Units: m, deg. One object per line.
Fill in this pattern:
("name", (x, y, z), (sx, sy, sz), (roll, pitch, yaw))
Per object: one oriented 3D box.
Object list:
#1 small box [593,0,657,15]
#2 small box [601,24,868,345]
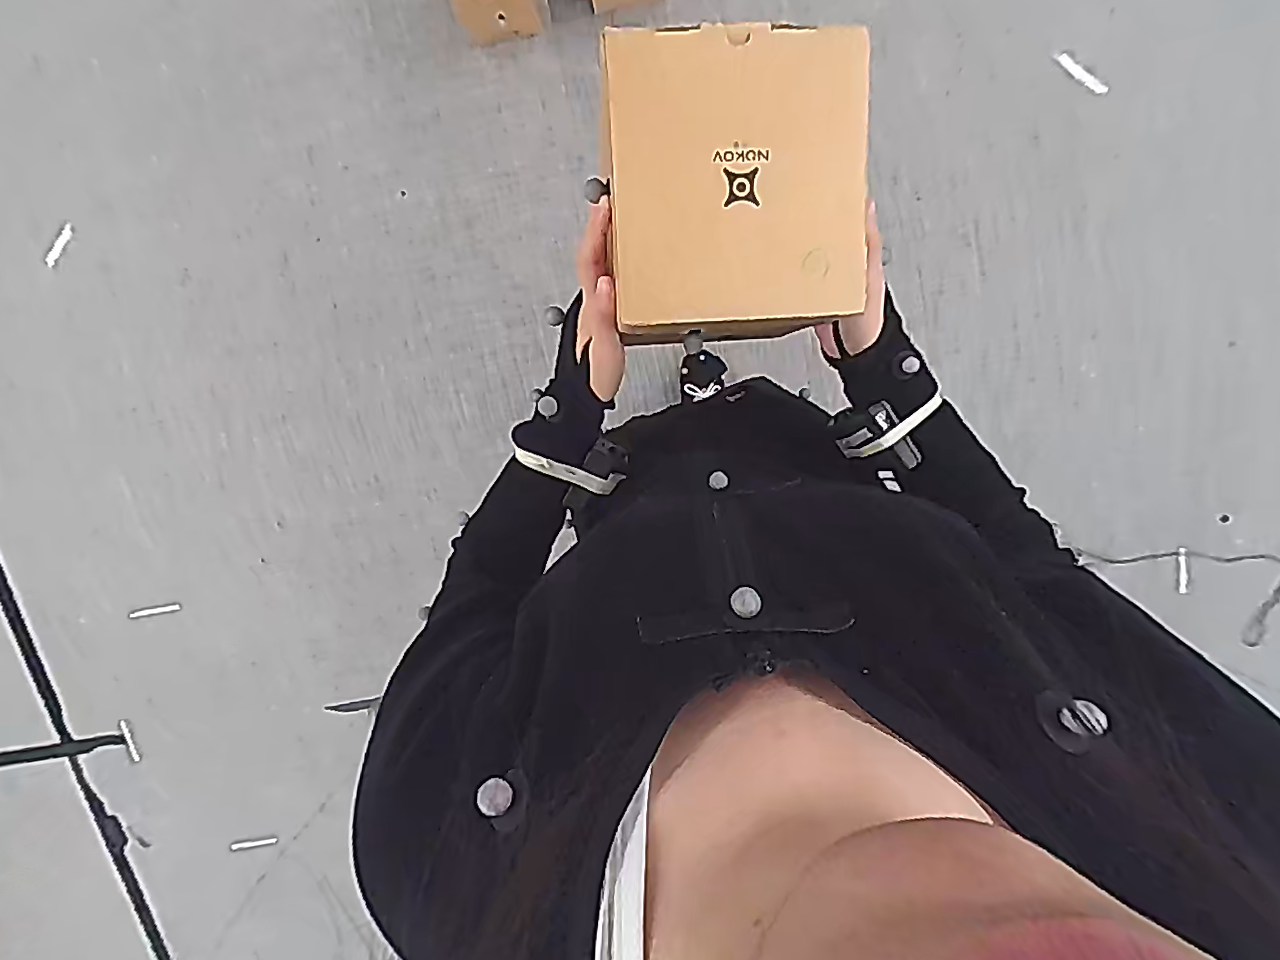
("small box", (-0.036, -1.194, 1.203), (0.179, 0.176, 0.168), (-11, 100, 4))
("small box", (0.059, -0.202, 0.421), (0.168, 0.176, 0.179), (-5, 98, -3))
